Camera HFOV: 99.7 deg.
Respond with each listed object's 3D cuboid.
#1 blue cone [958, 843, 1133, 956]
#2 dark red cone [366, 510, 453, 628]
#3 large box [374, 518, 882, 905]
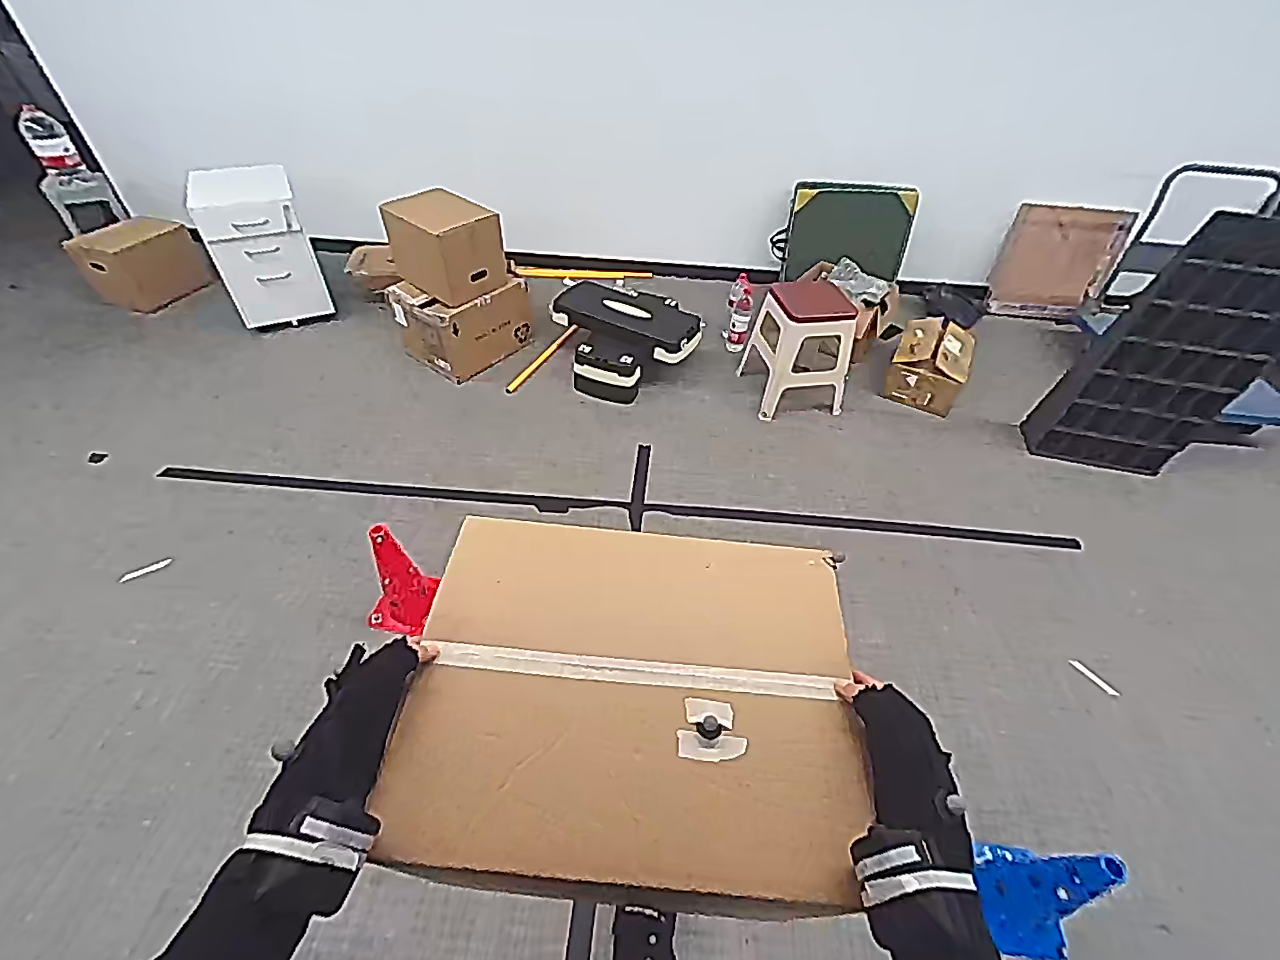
[{"bbox_3d":[0.830,0.813,1.087,0.192,0.380,0.193,8,46,3],"label":"blue cone"},{"bbox_3d":[-0.677,0.229,1.510,0.201,0.394,0.202,10,46,5],"label":"dark red cone"},{"bbox_3d":[-0.010,0.271,0.622,0.408,0.320,0.320,6,50,0],"label":"large box"}]
